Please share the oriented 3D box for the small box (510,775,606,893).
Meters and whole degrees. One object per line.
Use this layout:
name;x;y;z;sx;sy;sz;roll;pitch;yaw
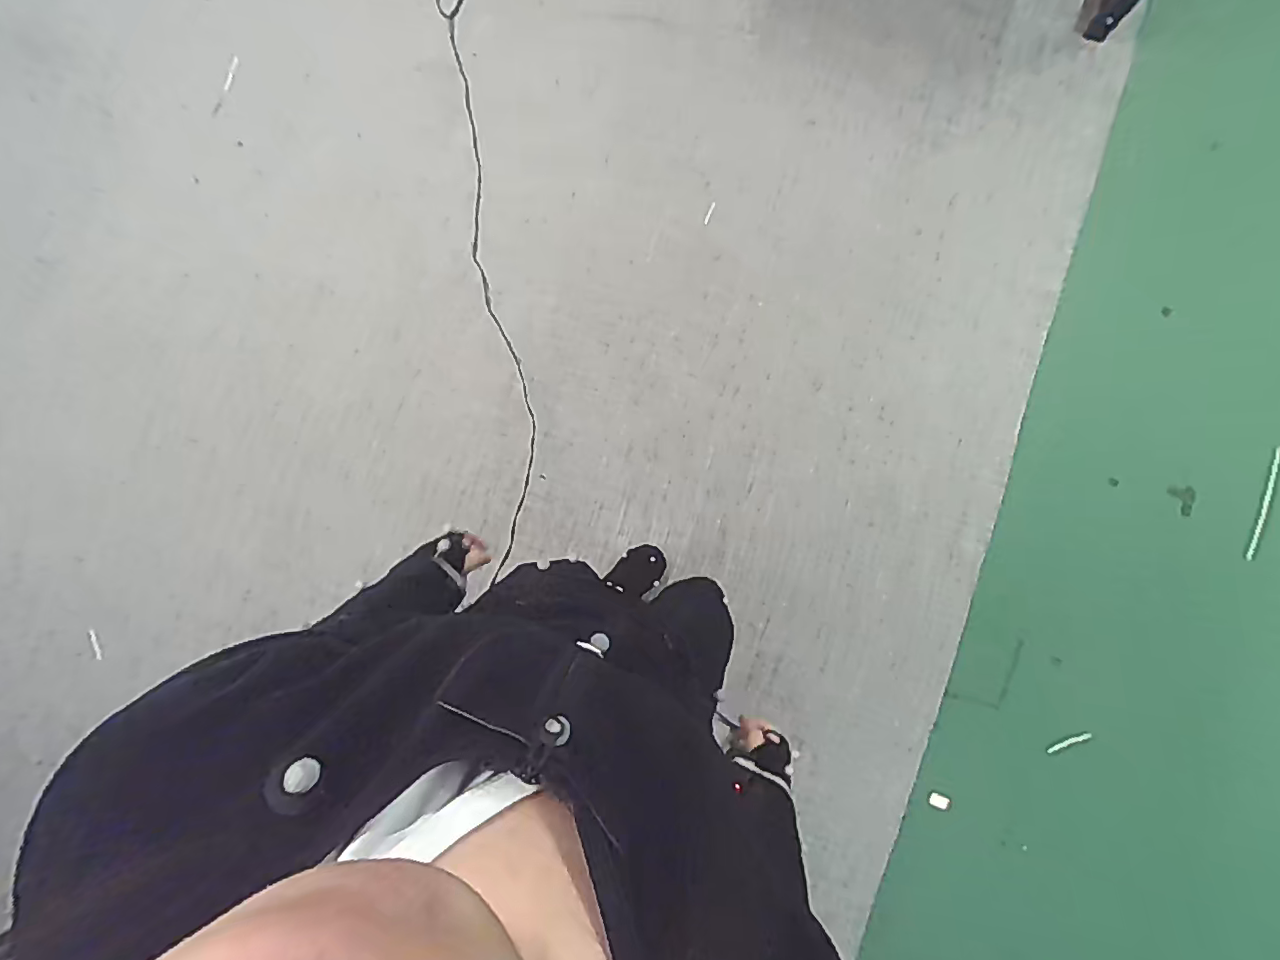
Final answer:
small box;-0.203;0.897;1.392;0.179;0.176;0.168;24;88;3
